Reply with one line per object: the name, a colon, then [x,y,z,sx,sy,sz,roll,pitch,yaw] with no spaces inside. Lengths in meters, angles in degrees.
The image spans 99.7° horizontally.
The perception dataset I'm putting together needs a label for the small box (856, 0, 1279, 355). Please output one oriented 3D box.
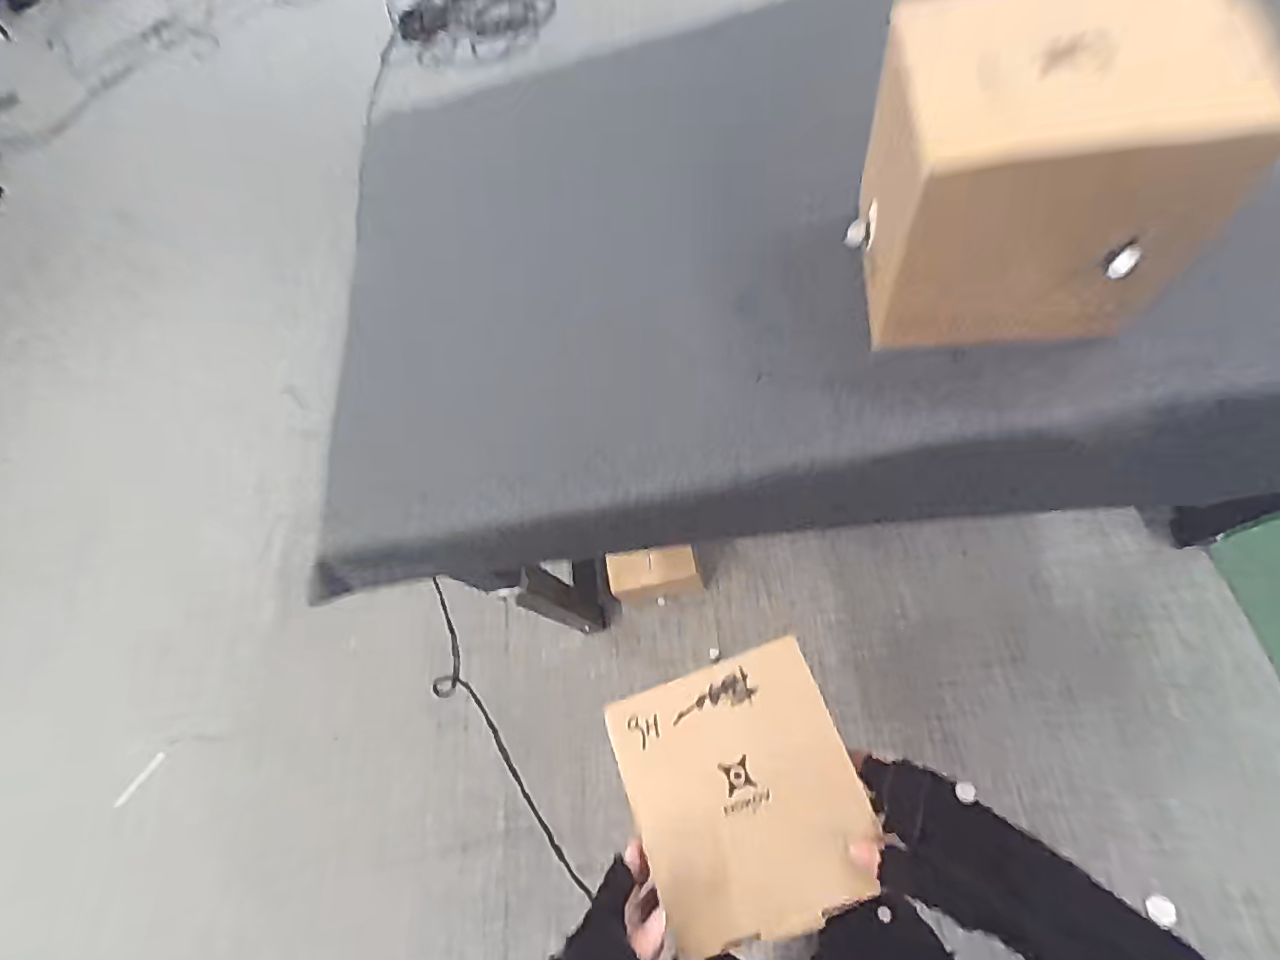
small box: [0.269,-0.210,0.397,0.179,0.176,0.168,-2,65,13]
